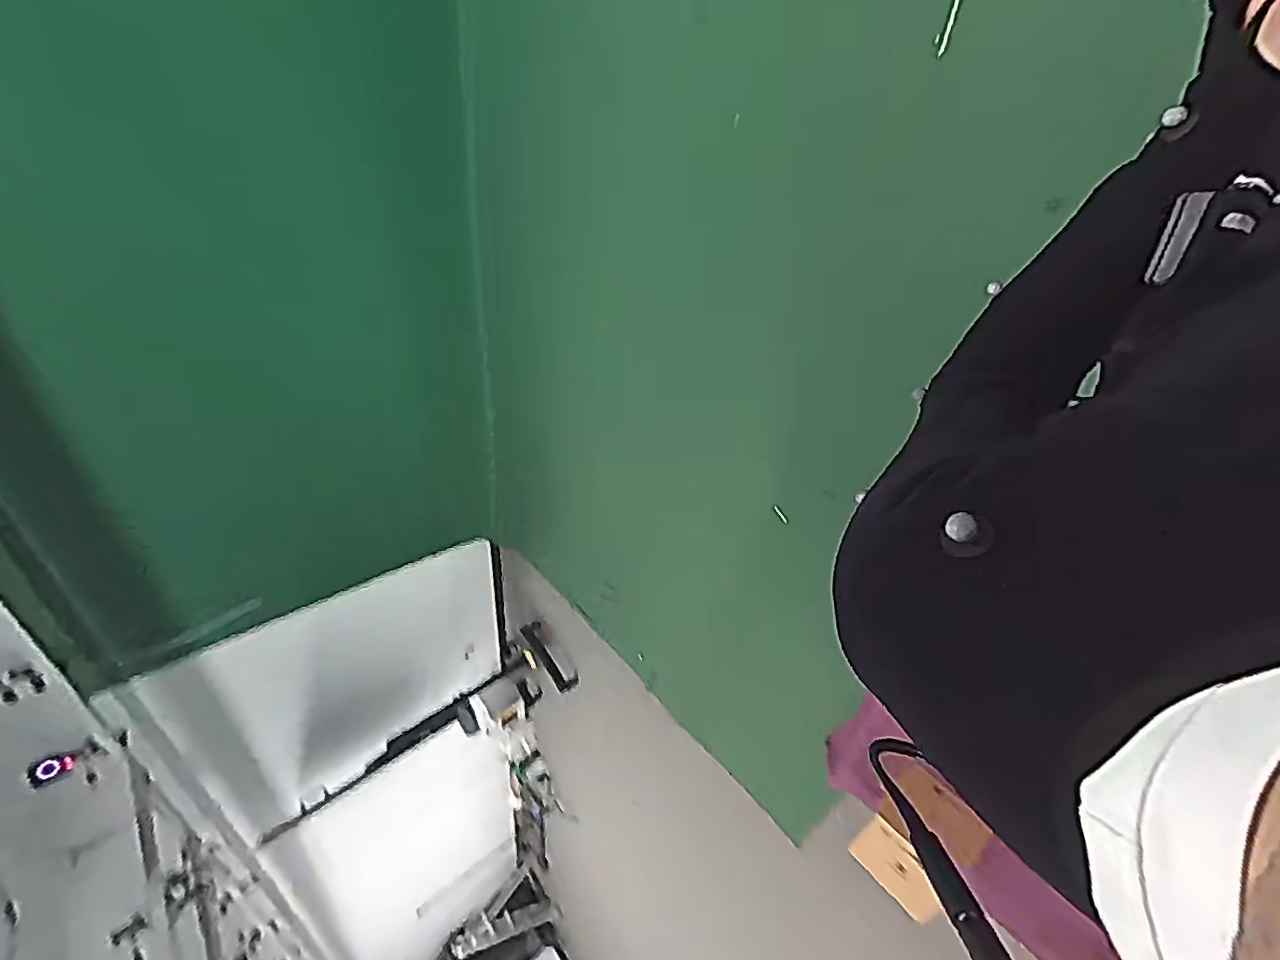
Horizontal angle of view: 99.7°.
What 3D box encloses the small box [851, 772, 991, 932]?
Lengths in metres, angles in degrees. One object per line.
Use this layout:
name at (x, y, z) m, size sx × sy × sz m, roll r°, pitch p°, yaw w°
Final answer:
small box at (0.564, 0.738, 1.085) m, size 0.168 × 0.176 × 0.179 m, roll 36°, pitch 134°, yaw 34°
